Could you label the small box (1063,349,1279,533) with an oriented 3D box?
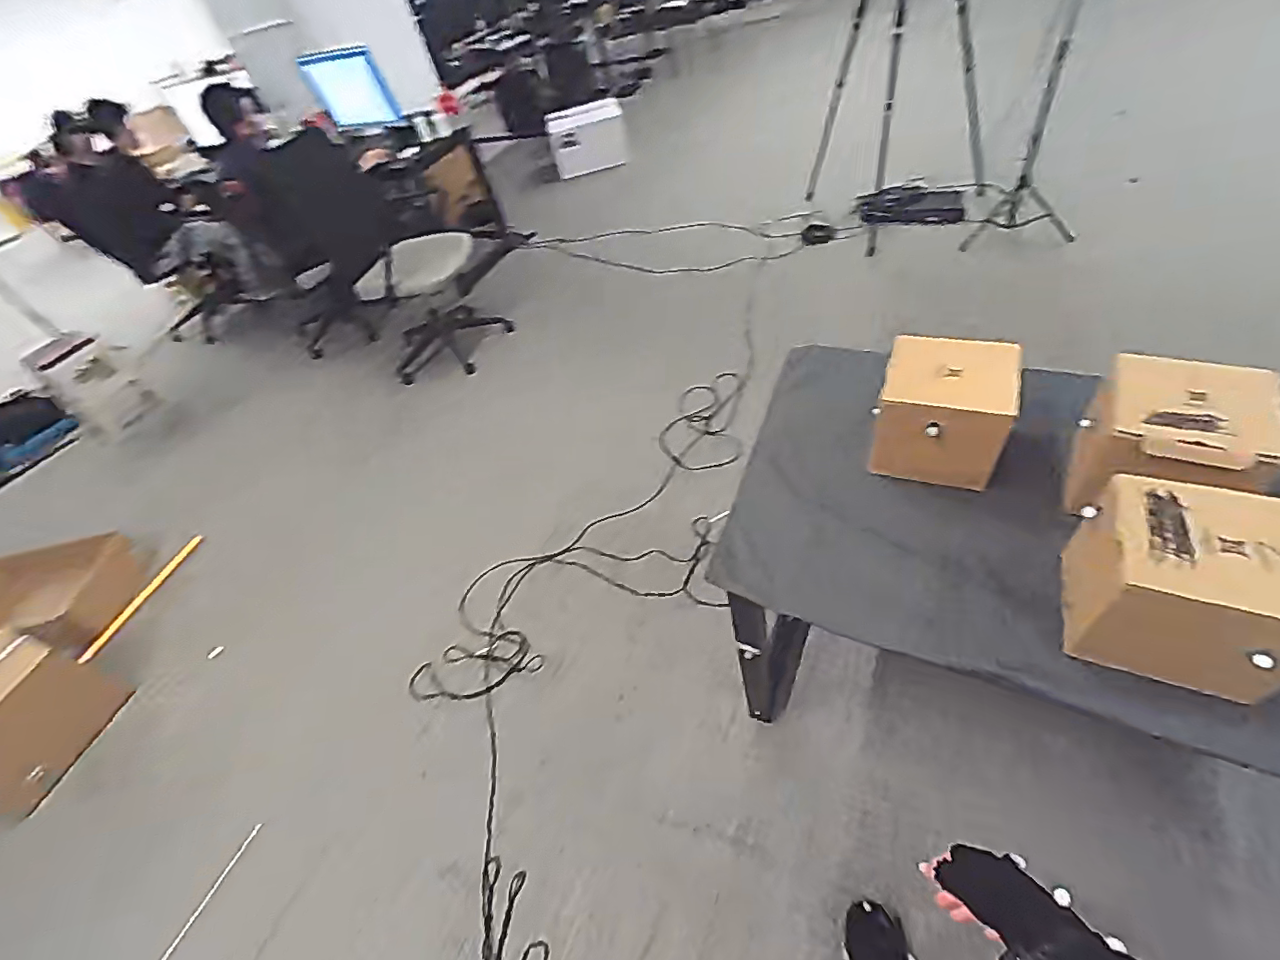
[{"bbox_3d":[0.722,-0.053,0.754,0.168,0.176,0.179,17,55,27],"label":"small box"}]
